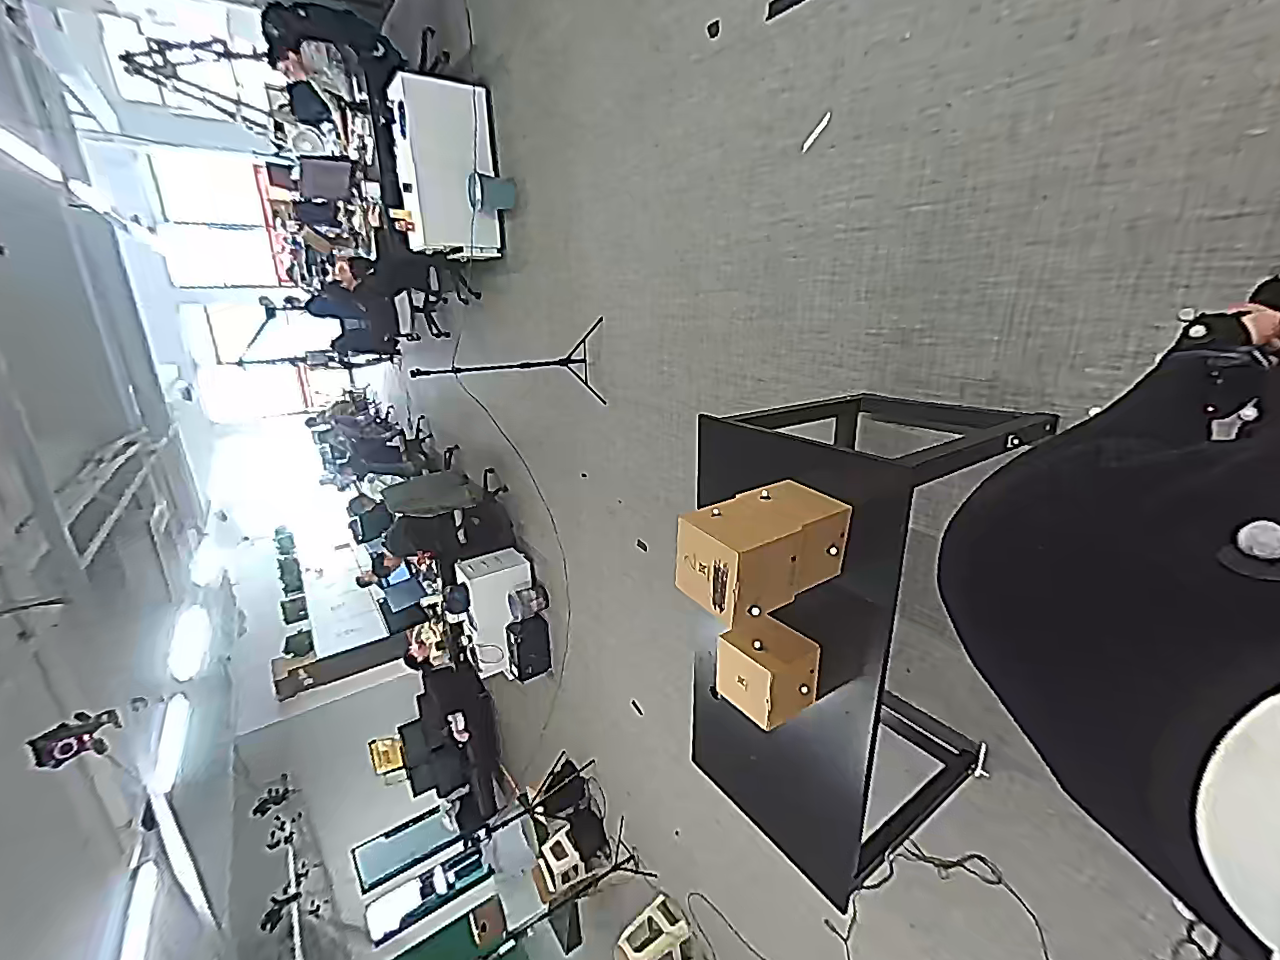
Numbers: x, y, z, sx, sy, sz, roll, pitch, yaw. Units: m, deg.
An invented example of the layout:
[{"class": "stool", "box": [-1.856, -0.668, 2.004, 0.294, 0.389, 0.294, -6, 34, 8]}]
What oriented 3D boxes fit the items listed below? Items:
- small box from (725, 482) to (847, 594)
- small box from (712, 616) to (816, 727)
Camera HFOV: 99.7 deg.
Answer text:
[{"class": "small box", "box": [0.309, 0.113, 1.161, 0.179, 0.176, 0.168, 31, 128, 49]}, {"class": "small box", "box": [0.297, 0.453, 1.313, 0.179, 0.176, 0.168, 24, 121, 51]}]
